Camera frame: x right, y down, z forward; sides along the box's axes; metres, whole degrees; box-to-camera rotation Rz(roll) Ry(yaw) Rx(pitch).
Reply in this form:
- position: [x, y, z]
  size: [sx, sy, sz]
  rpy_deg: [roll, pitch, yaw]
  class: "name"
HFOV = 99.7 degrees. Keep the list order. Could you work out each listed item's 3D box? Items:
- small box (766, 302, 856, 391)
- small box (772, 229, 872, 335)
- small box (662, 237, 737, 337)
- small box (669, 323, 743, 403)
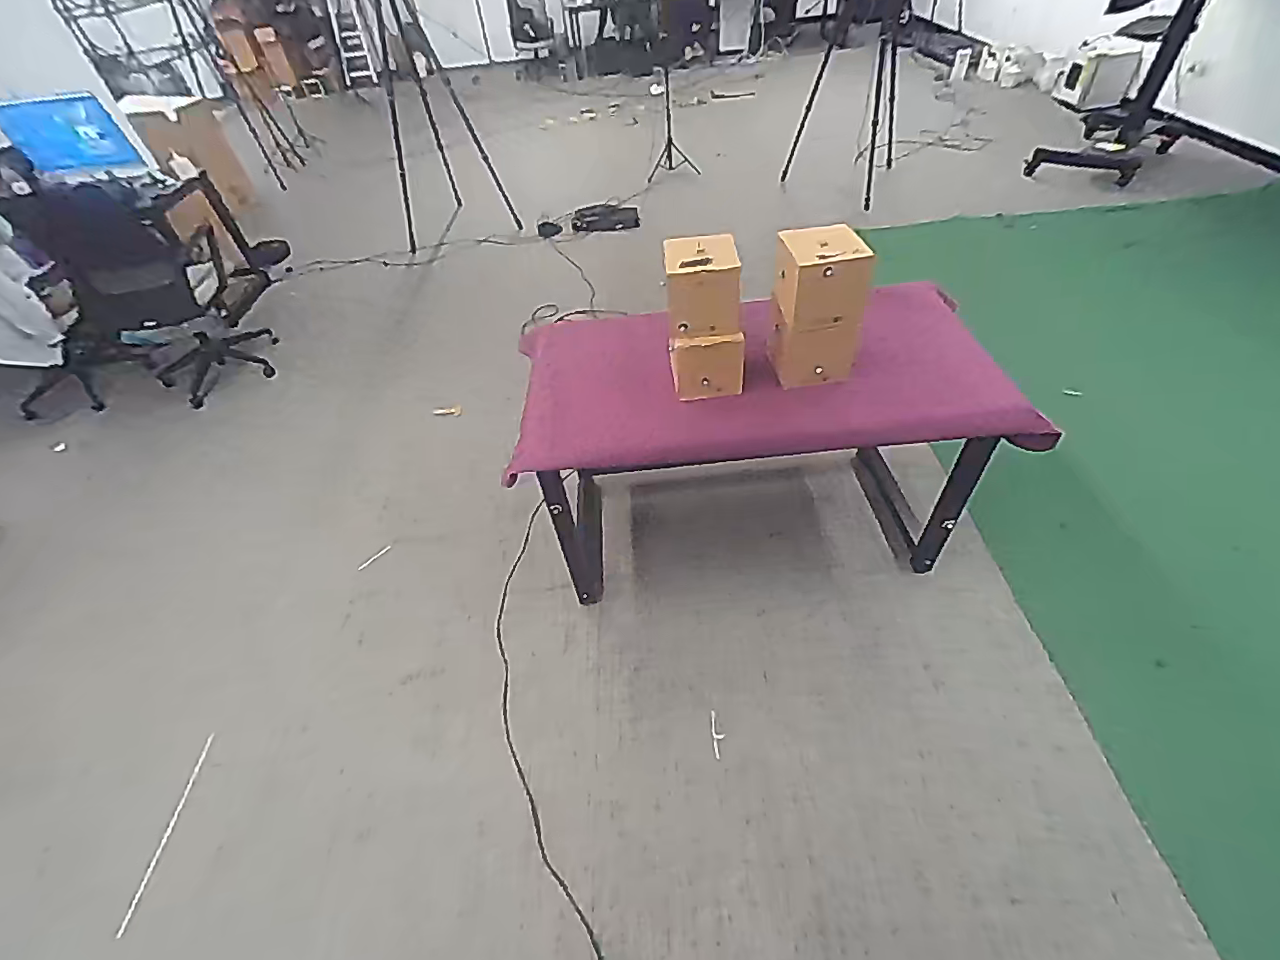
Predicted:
- position: [0.428, -0.350, 1.386]
  size: [0.168, 0.176, 0.179]
  rpy_deg: [-8, 47, 0]
  class: "small box"
- position: [0.414, -0.463, 1.268]
  size: [0.168, 0.176, 0.179]
  rpy_deg: [-9, 46, 0]
  class: "small box"
- position: [0.142, -0.456, 1.297]
  size: [0.168, 0.176, 0.179]
  rpy_deg: [-4, 46, 3]
  class: "small box"
- position: [0.164, -0.323, 1.395]
  size: [0.168, 0.176, 0.179]
  rpy_deg: [-7, 47, 1]
  class: "small box"
